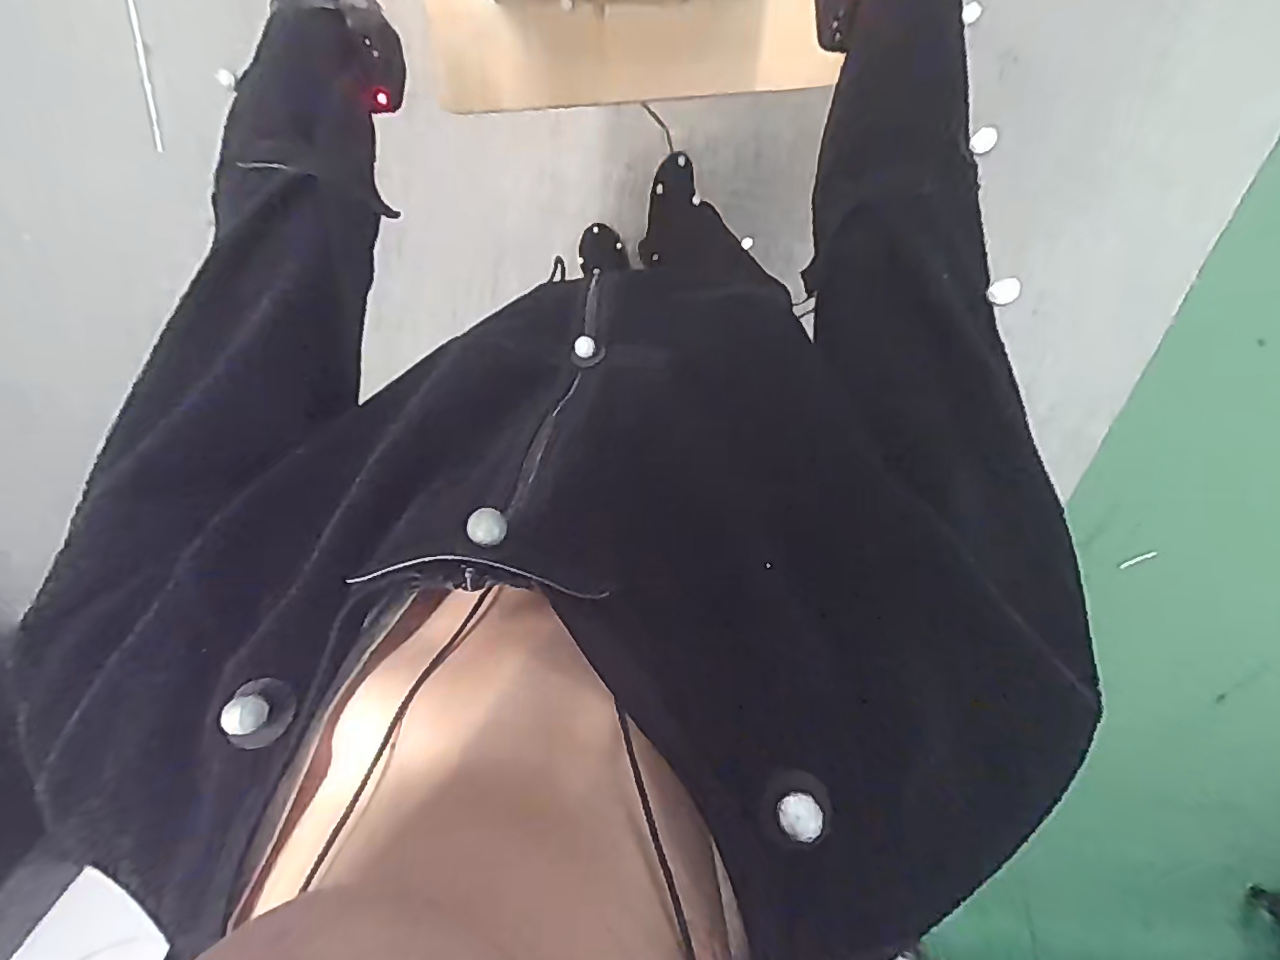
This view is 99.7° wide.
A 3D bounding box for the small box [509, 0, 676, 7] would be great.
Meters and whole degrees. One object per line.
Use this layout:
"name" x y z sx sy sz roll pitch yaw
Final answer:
"small box" -0.042 -0.440 0.358 0.168 0.176 0.179 -1 128 -2
